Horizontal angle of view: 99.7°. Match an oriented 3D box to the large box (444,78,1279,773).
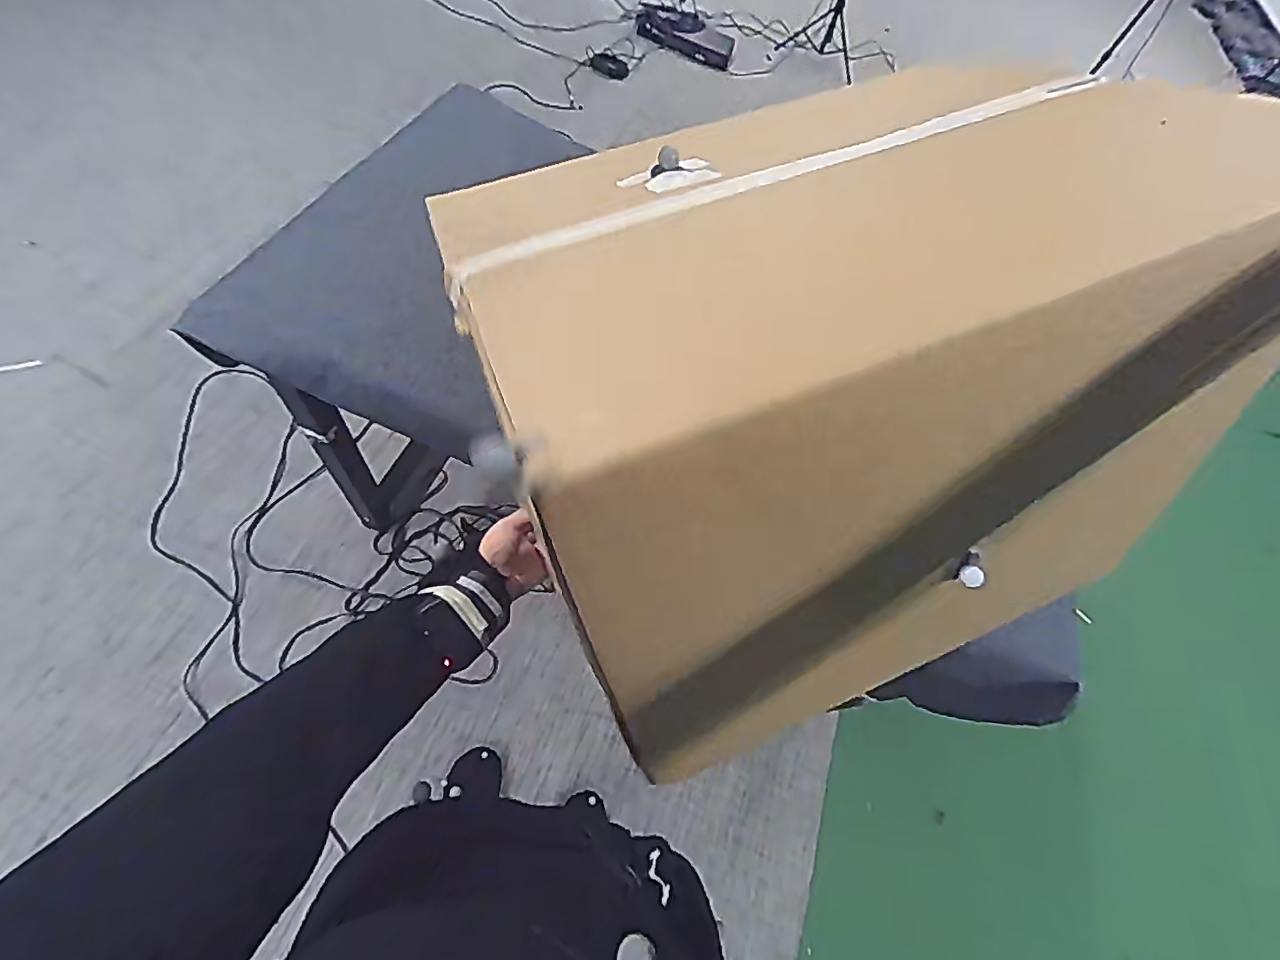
[{"bbox_3d":[0.125,-0.053,0.417,0.408,0.320,0.320,-24,46,-9],"label":"large box"}]
